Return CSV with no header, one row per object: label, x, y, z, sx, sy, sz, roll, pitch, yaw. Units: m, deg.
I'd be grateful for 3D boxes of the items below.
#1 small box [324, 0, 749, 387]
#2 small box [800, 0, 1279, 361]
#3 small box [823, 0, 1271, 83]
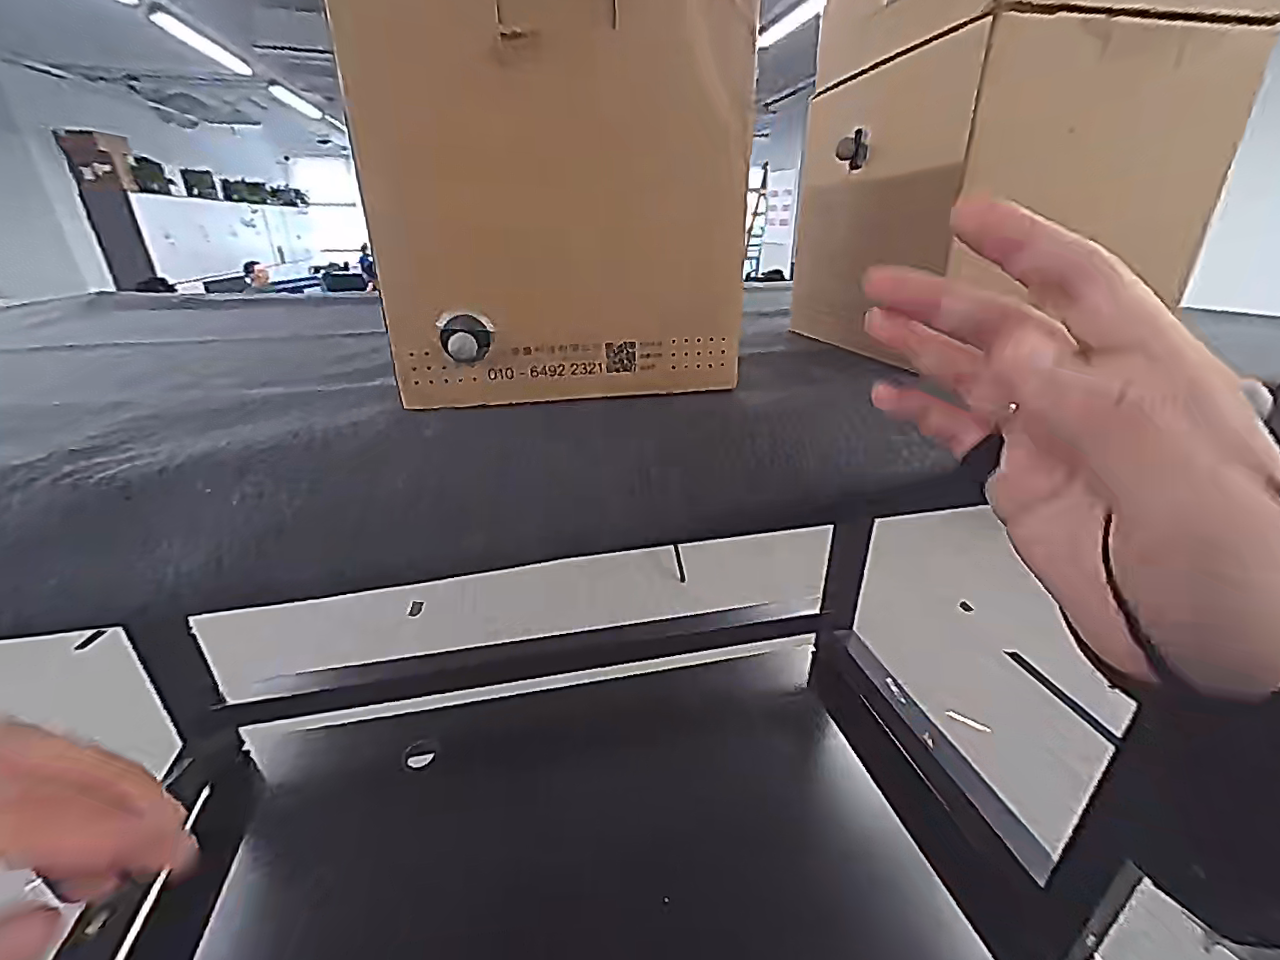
small box,-0.047,-0.150,0.305,0.168,0.176,0.179,-6,23,-11
small box,0.221,-0.178,0.358,0.168,0.176,0.179,-6,25,-10
small box,0.220,-0.328,0.292,0.168,0.176,0.179,-5,25,-9
